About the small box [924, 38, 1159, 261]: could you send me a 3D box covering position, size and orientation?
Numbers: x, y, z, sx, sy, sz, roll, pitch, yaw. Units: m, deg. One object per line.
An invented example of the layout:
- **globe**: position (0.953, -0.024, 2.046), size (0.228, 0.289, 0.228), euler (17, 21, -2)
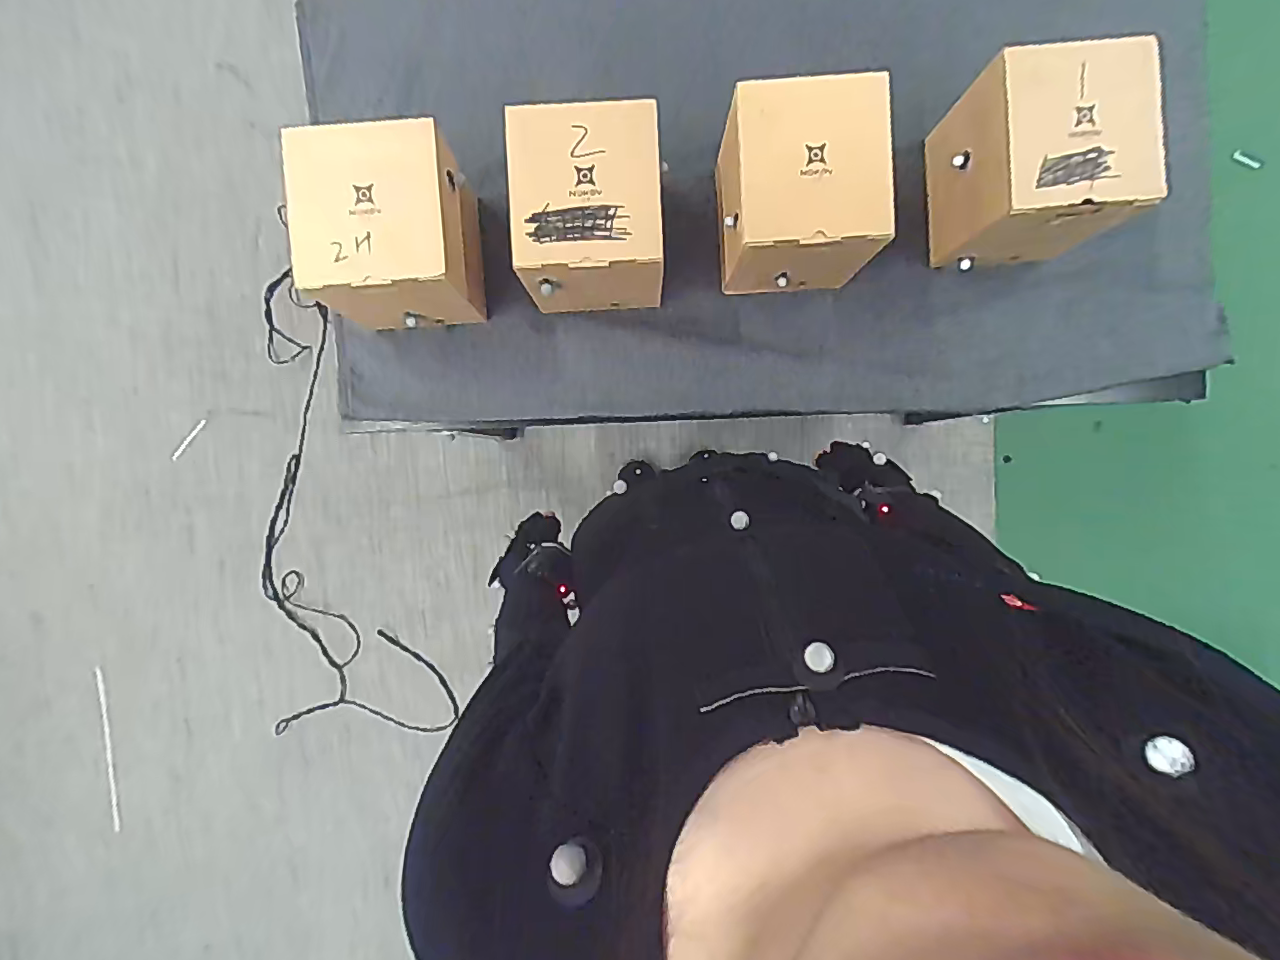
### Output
- **small box**: position (0.470, -0.380, 0.657), size (0.168, 0.176, 0.179), euler (-4, 91, 0)

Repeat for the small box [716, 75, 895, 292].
- **small box**: position (0.189, -0.347, 0.662), size (0.168, 0.176, 0.179), euler (-4, 93, 0)

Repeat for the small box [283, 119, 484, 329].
- **small box**: position (-0.296, -0.297, 0.658), size (0.168, 0.176, 0.179), euler (-4, 91, -1)
